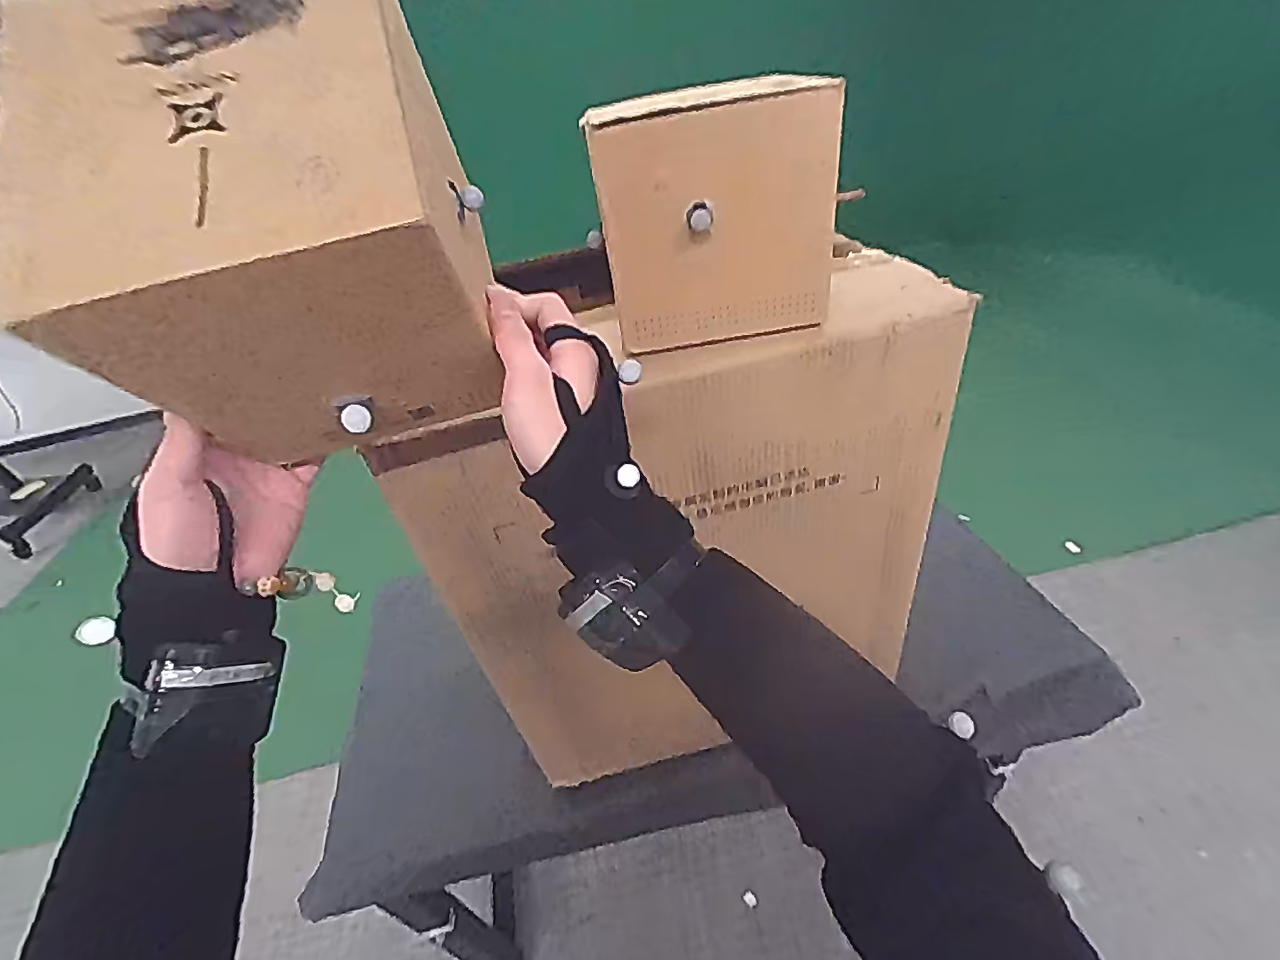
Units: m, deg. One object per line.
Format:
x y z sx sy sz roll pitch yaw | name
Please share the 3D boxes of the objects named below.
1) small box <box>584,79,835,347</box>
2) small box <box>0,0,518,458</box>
0.055 -0.232 0.474 0.179 0.176 0.168 -10 39 2 | small box
-0.181 -0.132 0.305 0.168 0.176 0.179 -16 77 -3 | small box
